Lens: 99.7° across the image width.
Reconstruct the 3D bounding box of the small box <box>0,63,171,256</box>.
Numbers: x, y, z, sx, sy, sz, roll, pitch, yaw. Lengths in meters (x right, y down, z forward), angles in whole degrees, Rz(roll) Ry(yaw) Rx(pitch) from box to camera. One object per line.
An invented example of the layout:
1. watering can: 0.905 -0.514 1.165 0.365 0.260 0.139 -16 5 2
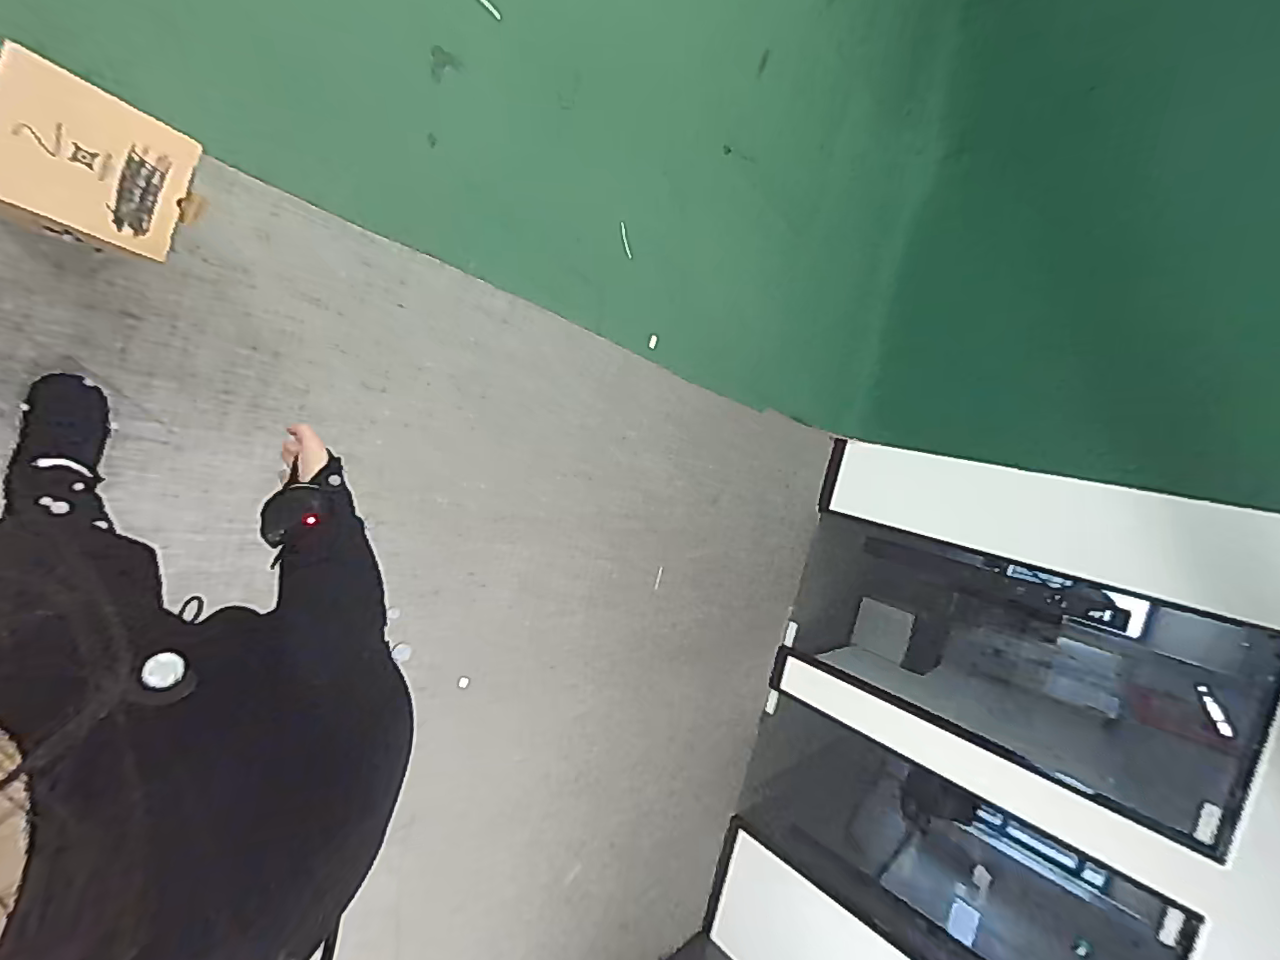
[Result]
1. small box: -0.822 -0.444 0.788 0.168 0.176 0.179 14 92 -50
